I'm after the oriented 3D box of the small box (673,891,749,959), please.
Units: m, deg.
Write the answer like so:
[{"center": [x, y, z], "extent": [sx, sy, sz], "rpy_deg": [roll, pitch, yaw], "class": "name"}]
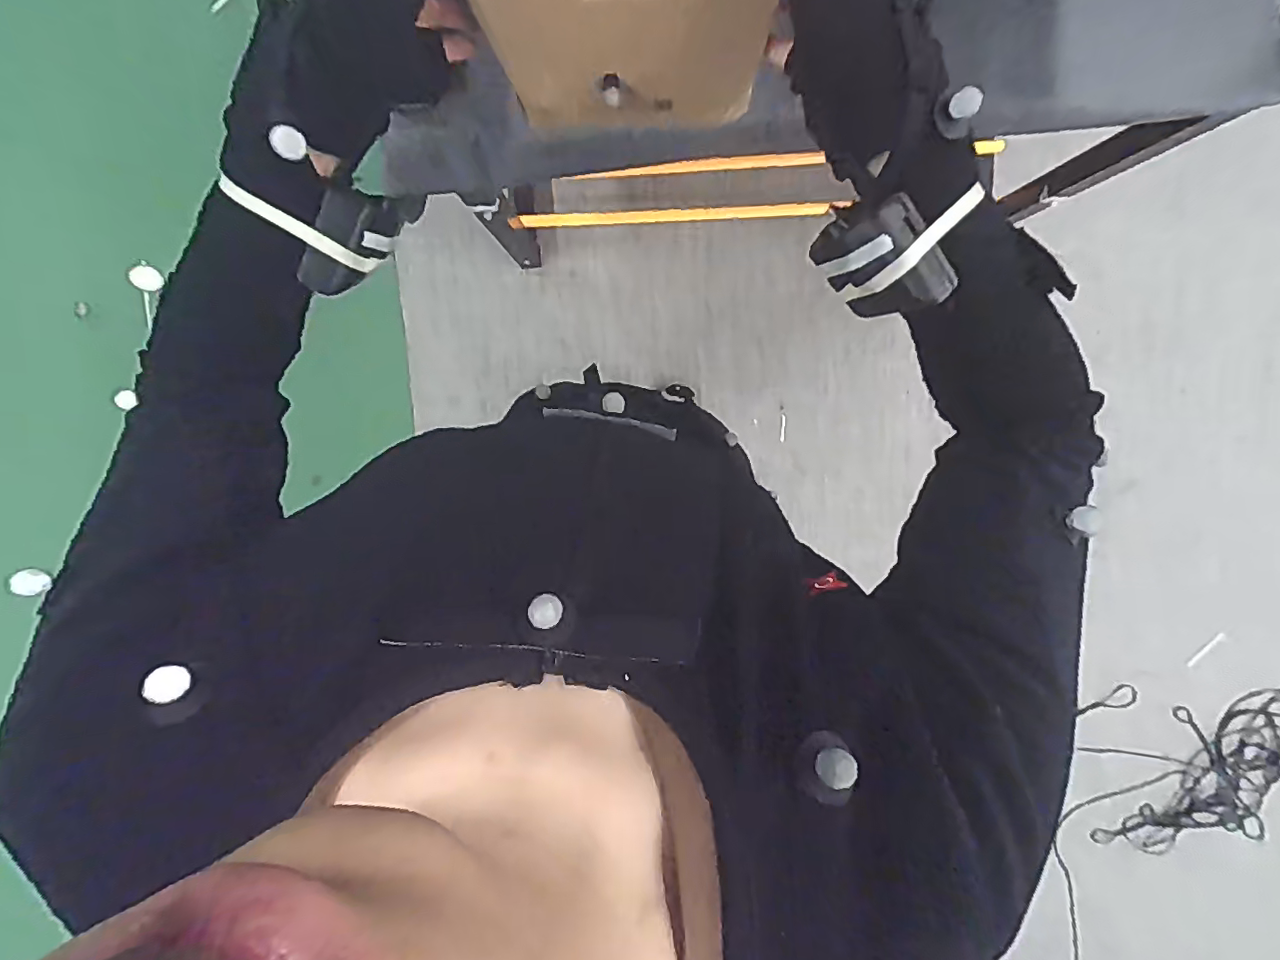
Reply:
[{"center": [0.202, 1.351, 1.580], "extent": [0.179, 0.176, 0.168], "rpy_deg": [12, 97, -1], "class": "small box"}]
